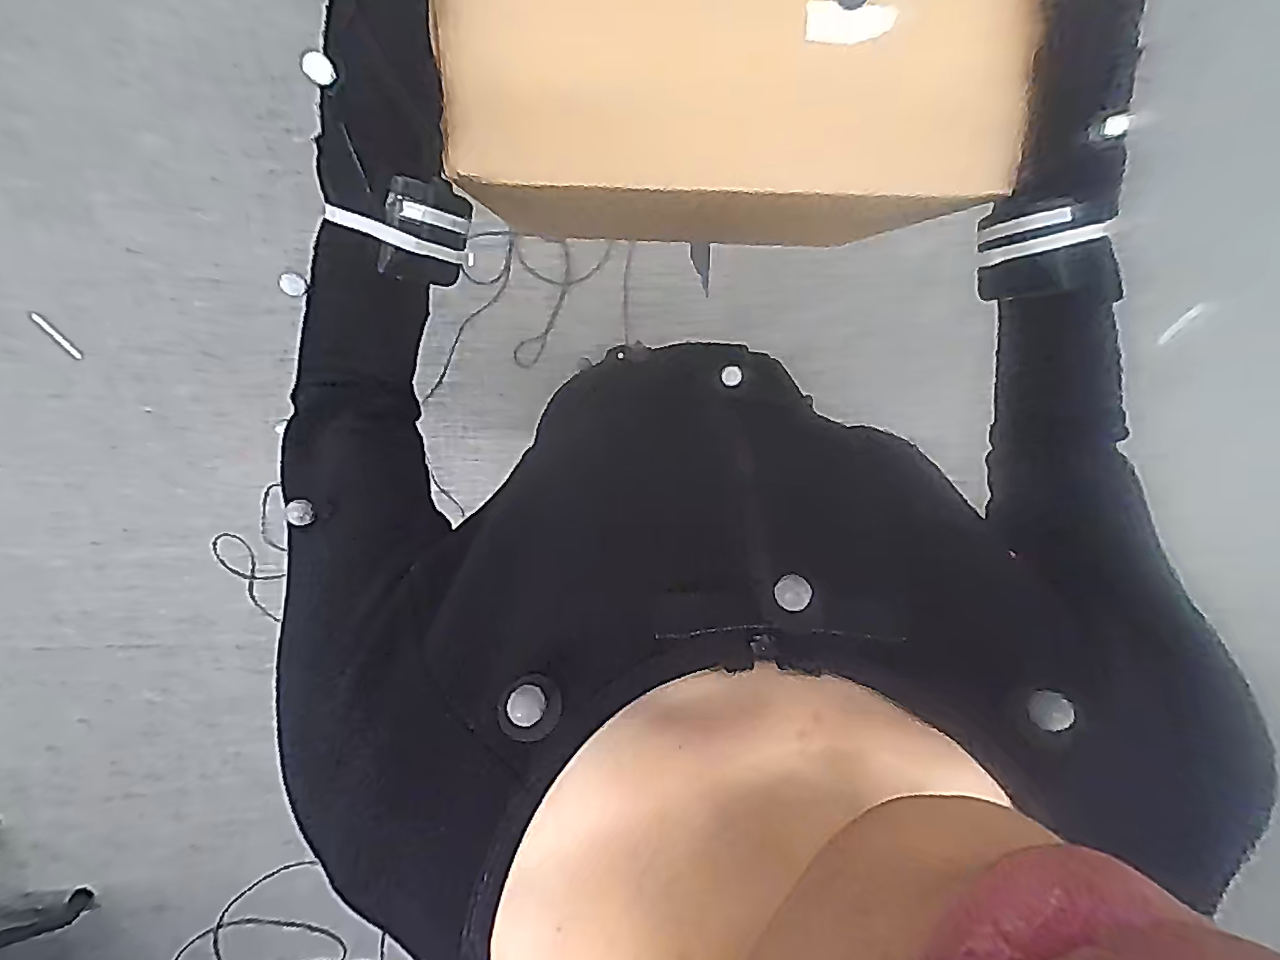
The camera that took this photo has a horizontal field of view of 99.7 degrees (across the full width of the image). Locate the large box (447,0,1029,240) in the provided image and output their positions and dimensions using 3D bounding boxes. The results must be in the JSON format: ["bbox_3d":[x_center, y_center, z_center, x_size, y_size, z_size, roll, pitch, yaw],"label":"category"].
[{"bbox_3d":[0.060,-0.407,0.493,0.408,0.320,0.320,0,108,-3],"label":"large box"}]
